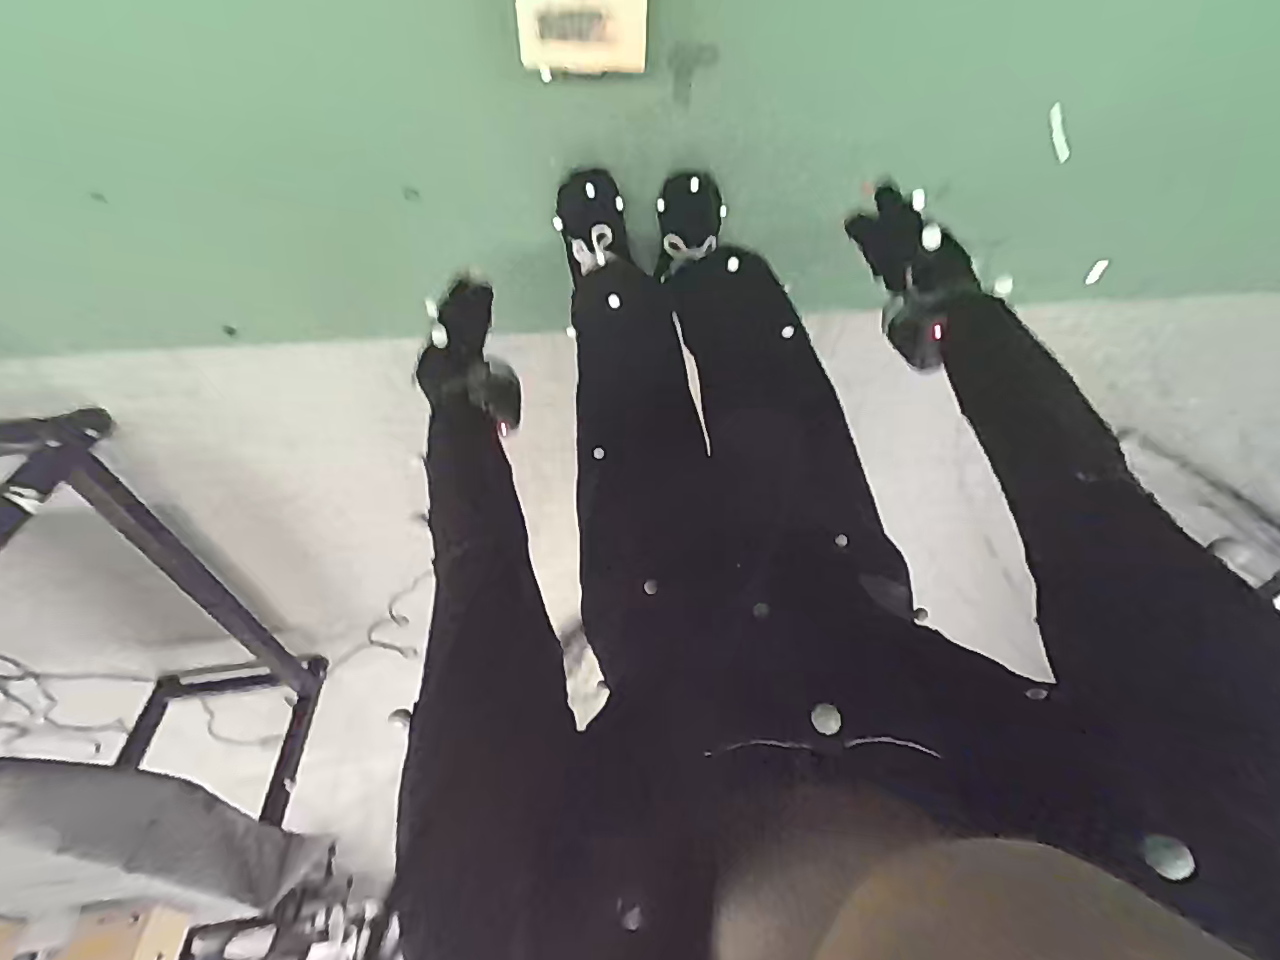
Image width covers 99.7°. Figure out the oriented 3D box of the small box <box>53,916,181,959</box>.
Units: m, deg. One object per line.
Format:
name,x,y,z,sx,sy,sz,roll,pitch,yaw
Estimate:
small box,-1.222,1.126,1.243,0.168,0.176,0.179,-3,134,-7
